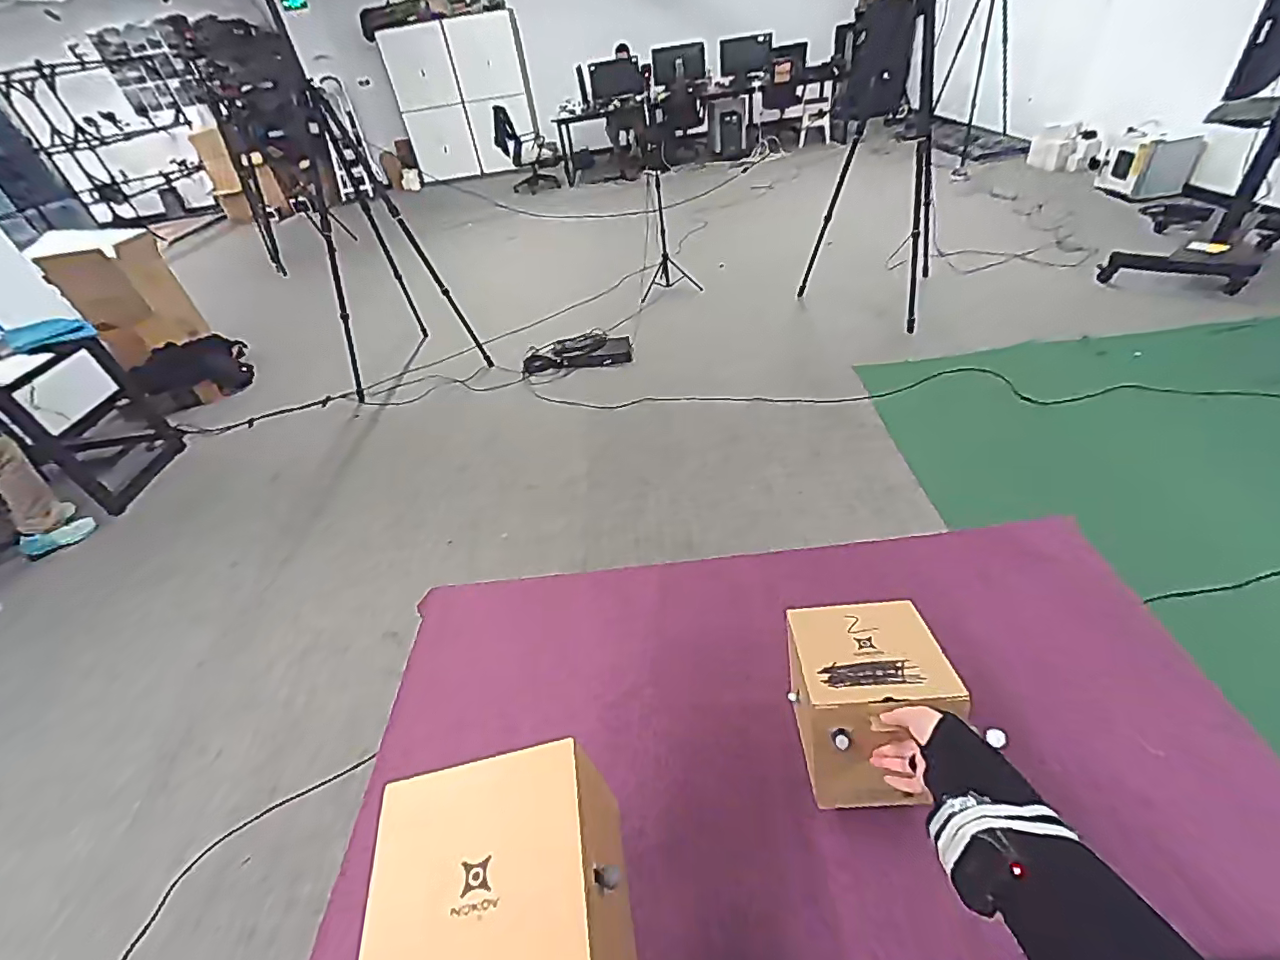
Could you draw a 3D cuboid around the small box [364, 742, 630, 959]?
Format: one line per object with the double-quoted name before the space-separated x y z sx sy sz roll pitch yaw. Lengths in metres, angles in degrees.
"small box" -0.109 0.360 0.465 0.168 0.176 0.179 -14 45 0
